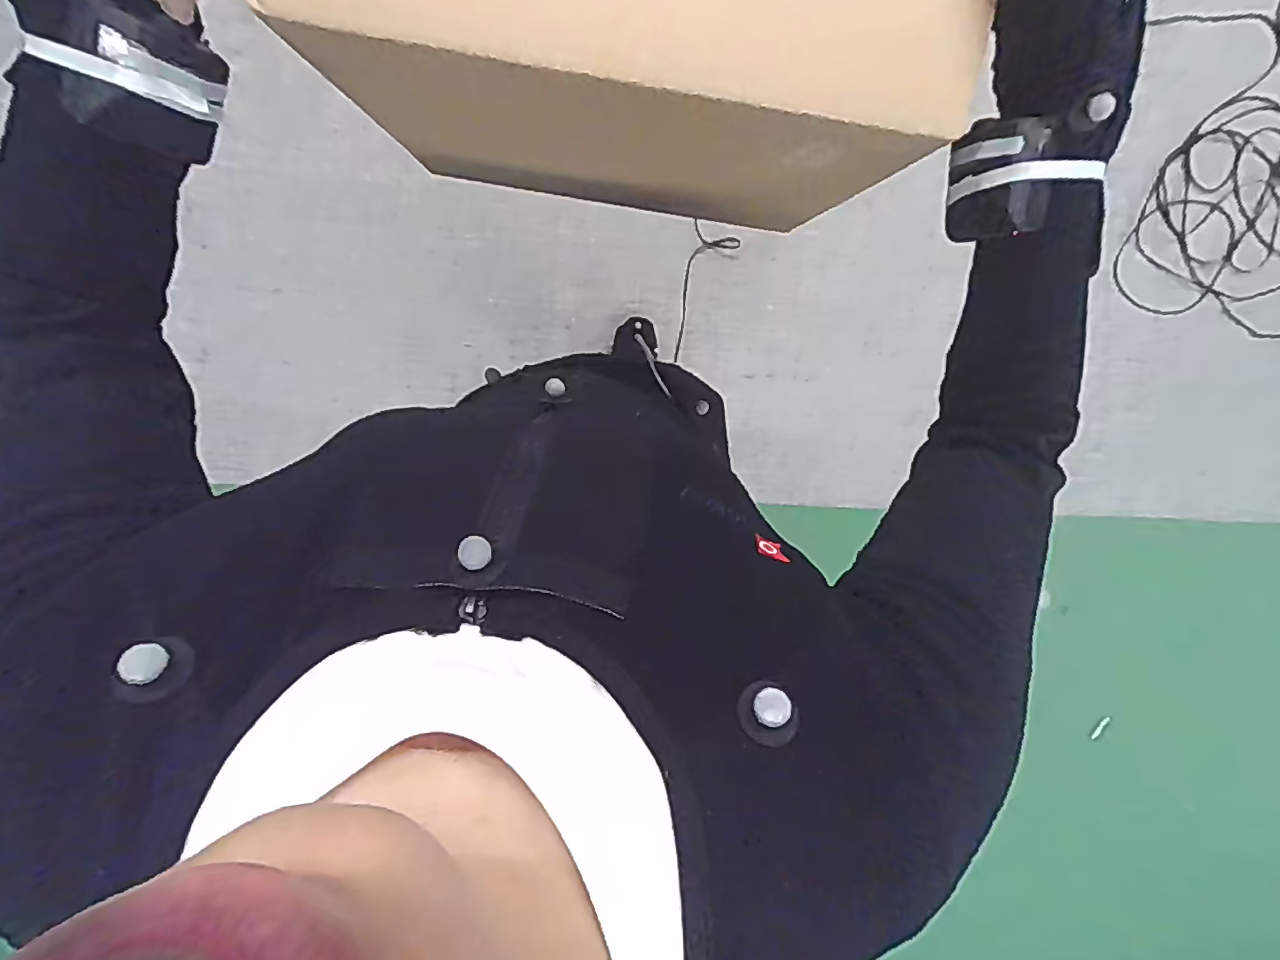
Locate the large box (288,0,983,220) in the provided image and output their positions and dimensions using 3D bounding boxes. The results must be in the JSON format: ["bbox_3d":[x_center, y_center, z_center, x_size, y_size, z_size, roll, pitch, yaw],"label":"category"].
[{"bbox_3d":[0.006,-0.422,0.423,0.408,0.320,0.320,6,106,-5],"label":"large box"}]
